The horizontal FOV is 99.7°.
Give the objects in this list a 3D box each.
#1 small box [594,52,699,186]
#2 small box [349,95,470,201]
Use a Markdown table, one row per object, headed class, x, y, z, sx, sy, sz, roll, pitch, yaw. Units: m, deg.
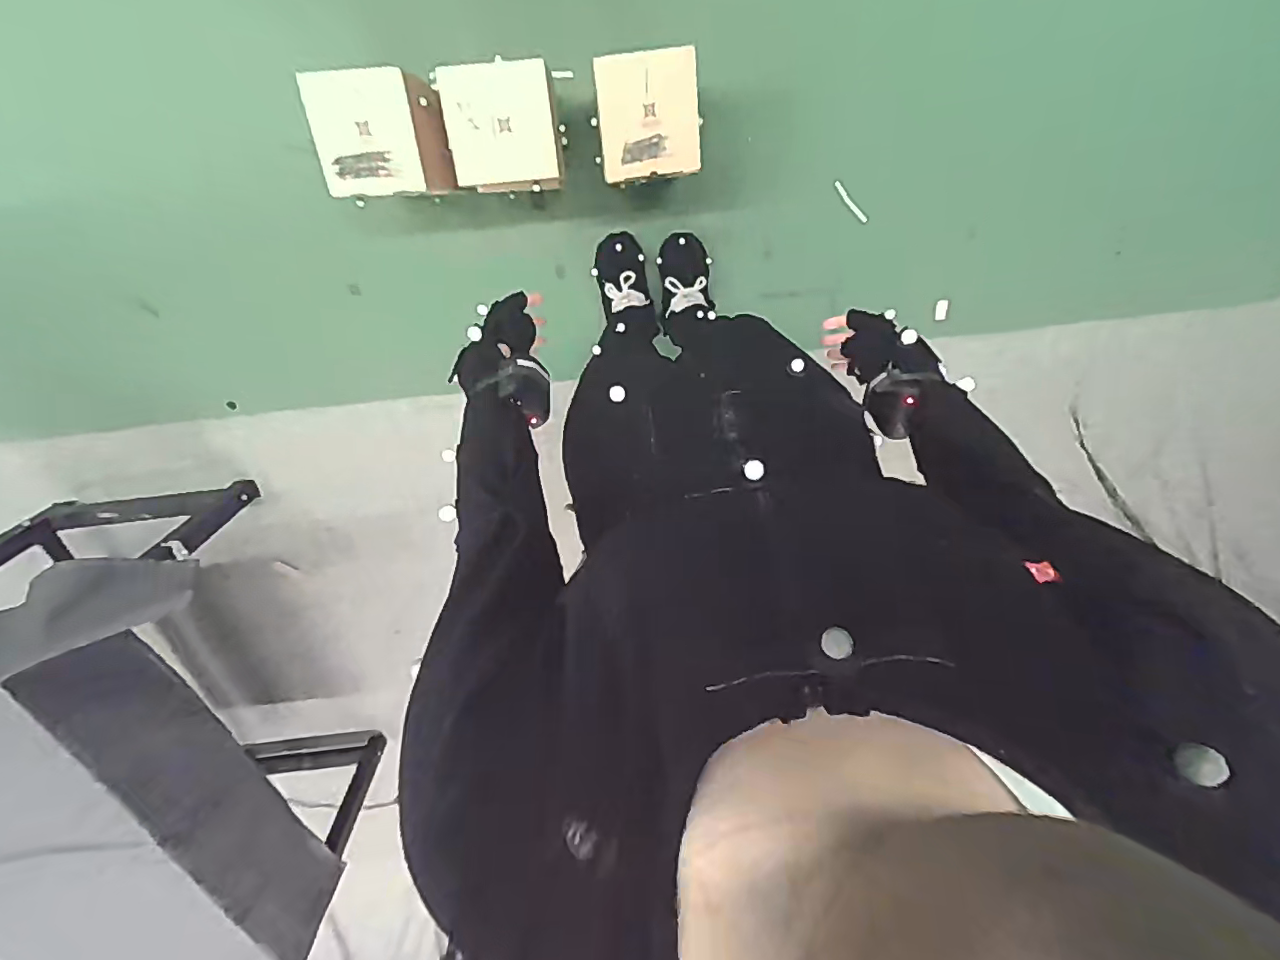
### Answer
| class | x | y | z | sx | sy | sz | roll | pitch | yaw |
| --- | --- | --- | --- | --- | --- | --- | --- | --- | --- |
| small box | 0.012 | -0.637 | 0.971 | 0.168 | 0.176 | 0.179 | -7 | 118 | 0 |
| small box | -0.460 | -0.677 | 1.113 | 0.168 | 0.176 | 0.179 | -2 | 118 | -2 |
